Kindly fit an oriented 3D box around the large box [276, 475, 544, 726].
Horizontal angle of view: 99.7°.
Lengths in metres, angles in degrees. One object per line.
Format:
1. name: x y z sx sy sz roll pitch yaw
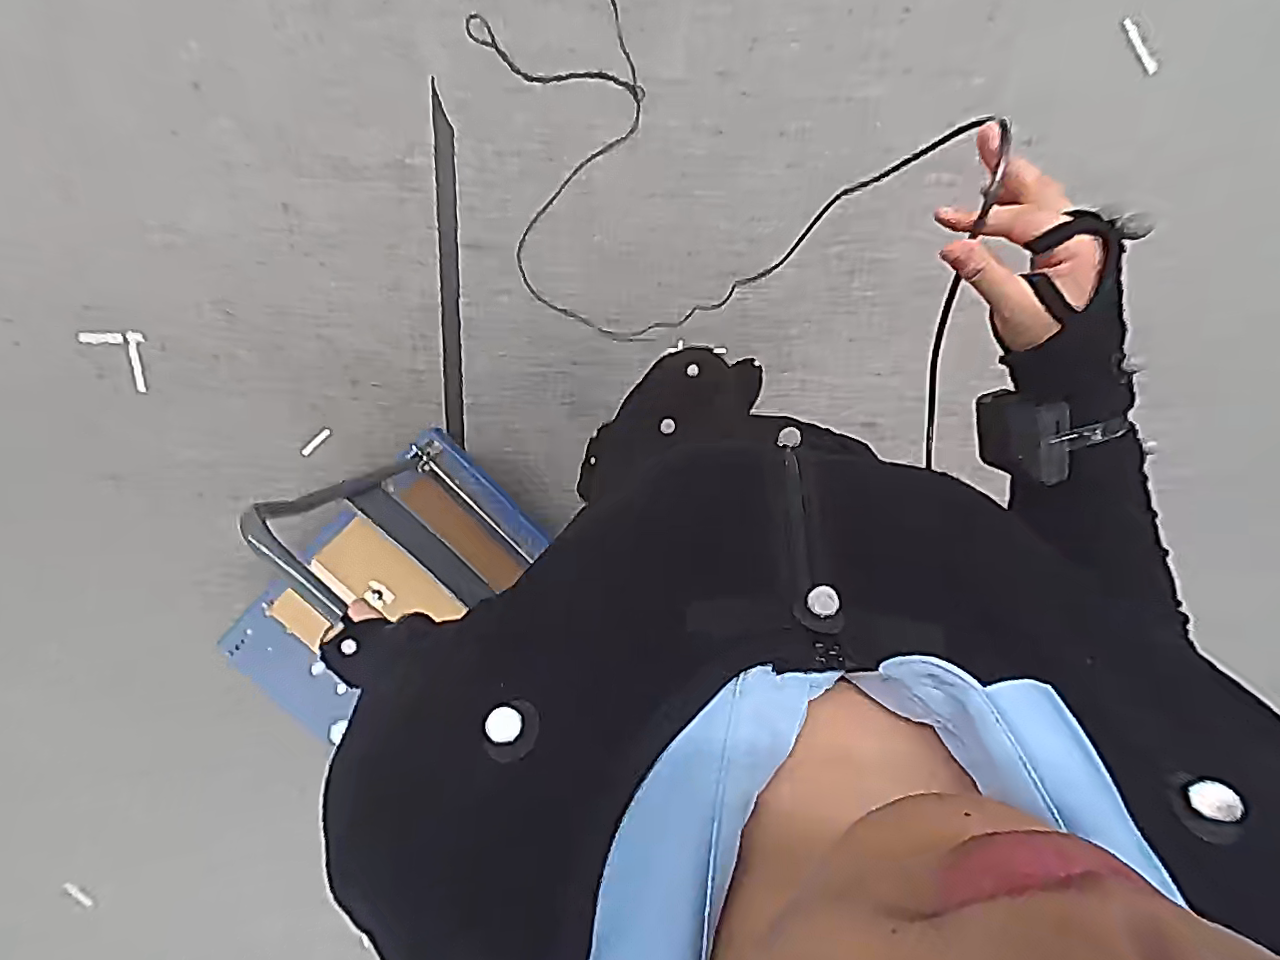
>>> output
1. large box: -0.492 0.256 1.243 0.320 0.320 0.408 -42 98 9
